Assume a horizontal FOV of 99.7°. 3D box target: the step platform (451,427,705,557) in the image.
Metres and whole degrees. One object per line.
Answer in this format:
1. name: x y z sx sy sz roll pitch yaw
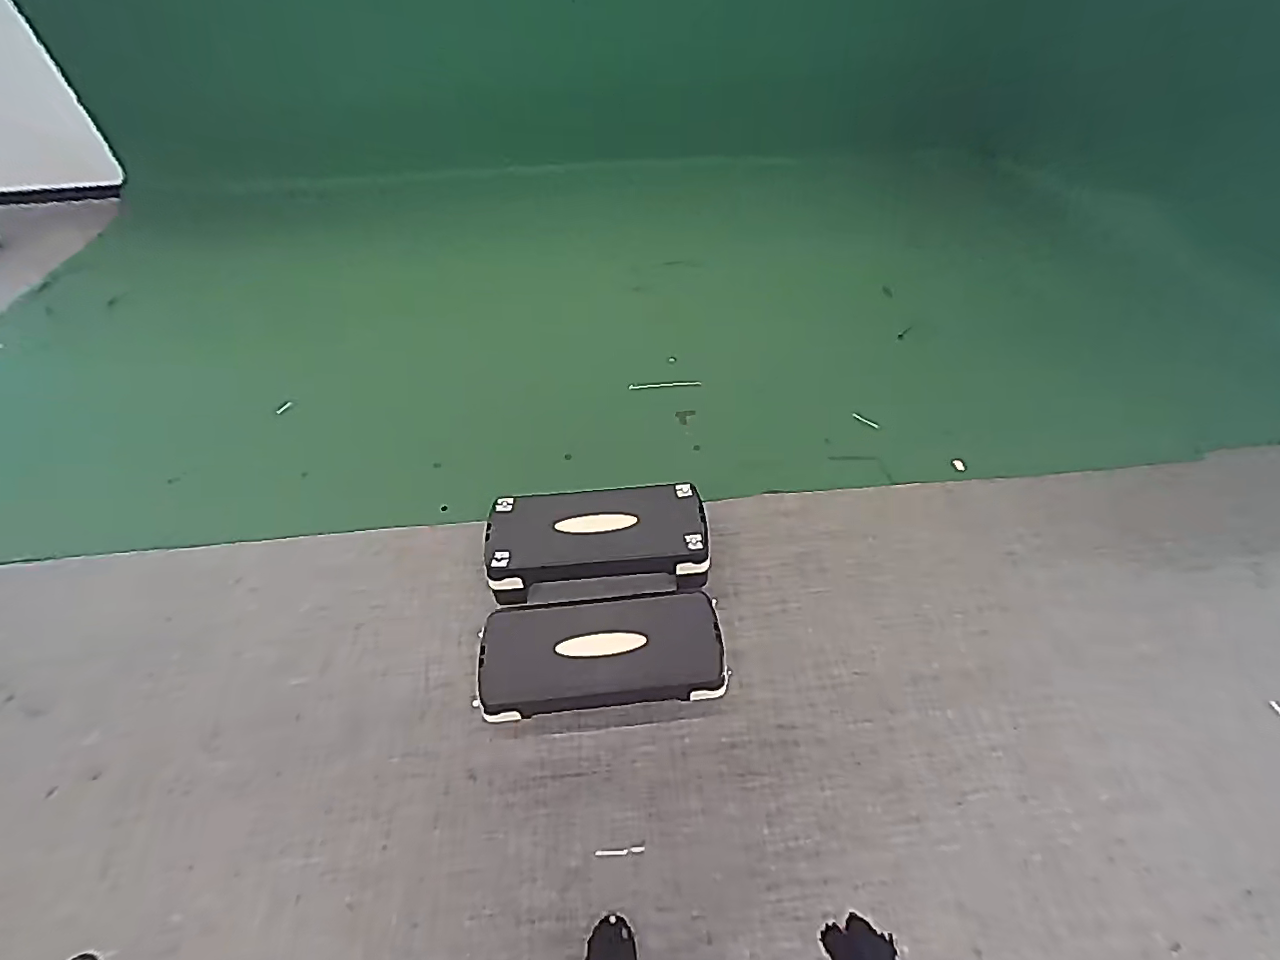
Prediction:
1. step platform: -0.167 0.035 1.545 0.684 0.204 0.286 -5 50 -3
